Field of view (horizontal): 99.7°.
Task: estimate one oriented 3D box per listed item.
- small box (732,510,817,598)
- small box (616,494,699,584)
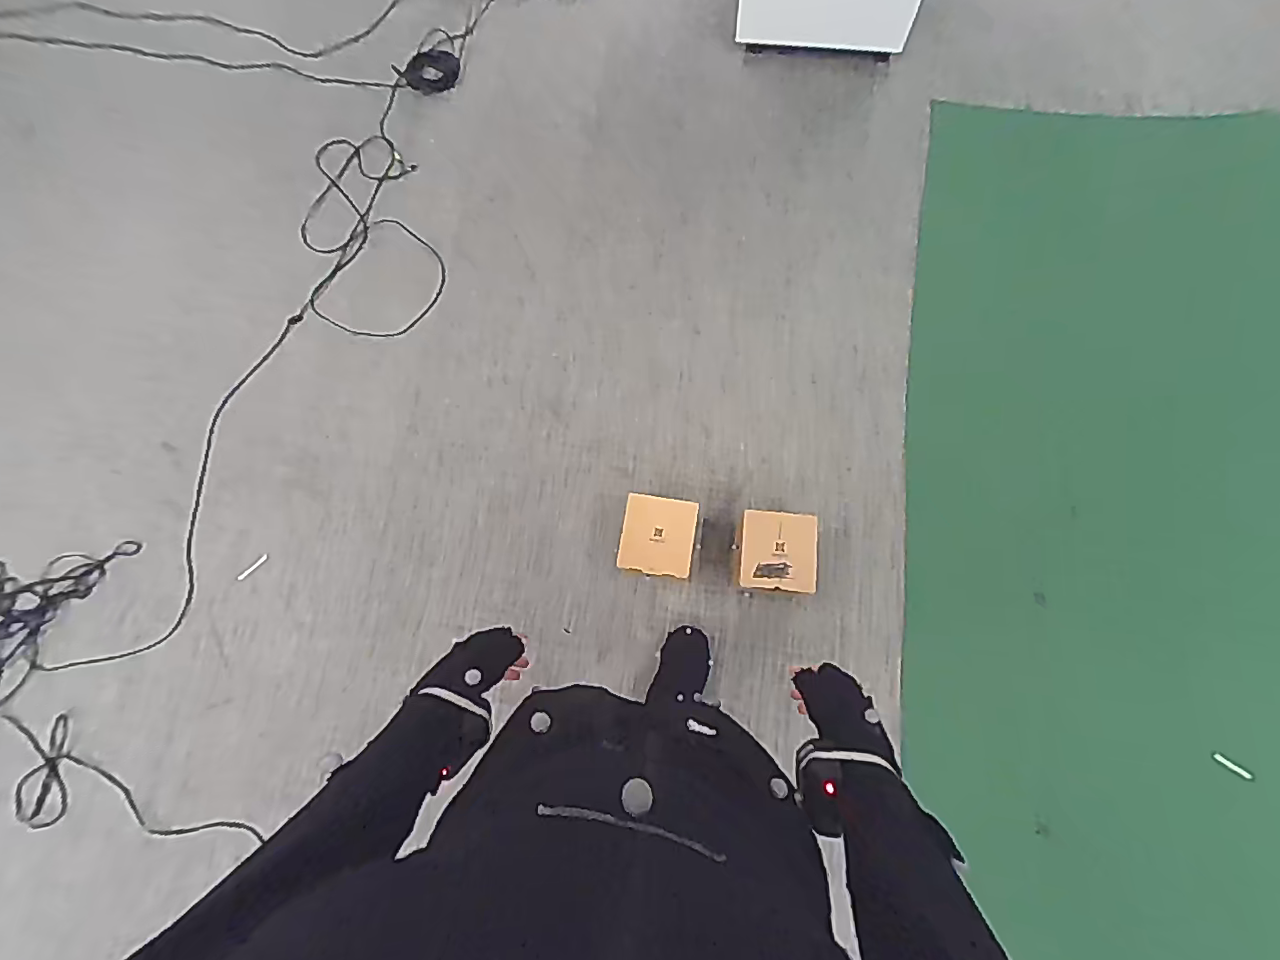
[{"bbox_3d":[0.309,0.179,1.267,0.168,0.176,0.179,6,76,5],"label":"small box"},{"bbox_3d":[0.044,0.145,1.295,0.168,0.176,0.179,9,77,6],"label":"small box"}]
